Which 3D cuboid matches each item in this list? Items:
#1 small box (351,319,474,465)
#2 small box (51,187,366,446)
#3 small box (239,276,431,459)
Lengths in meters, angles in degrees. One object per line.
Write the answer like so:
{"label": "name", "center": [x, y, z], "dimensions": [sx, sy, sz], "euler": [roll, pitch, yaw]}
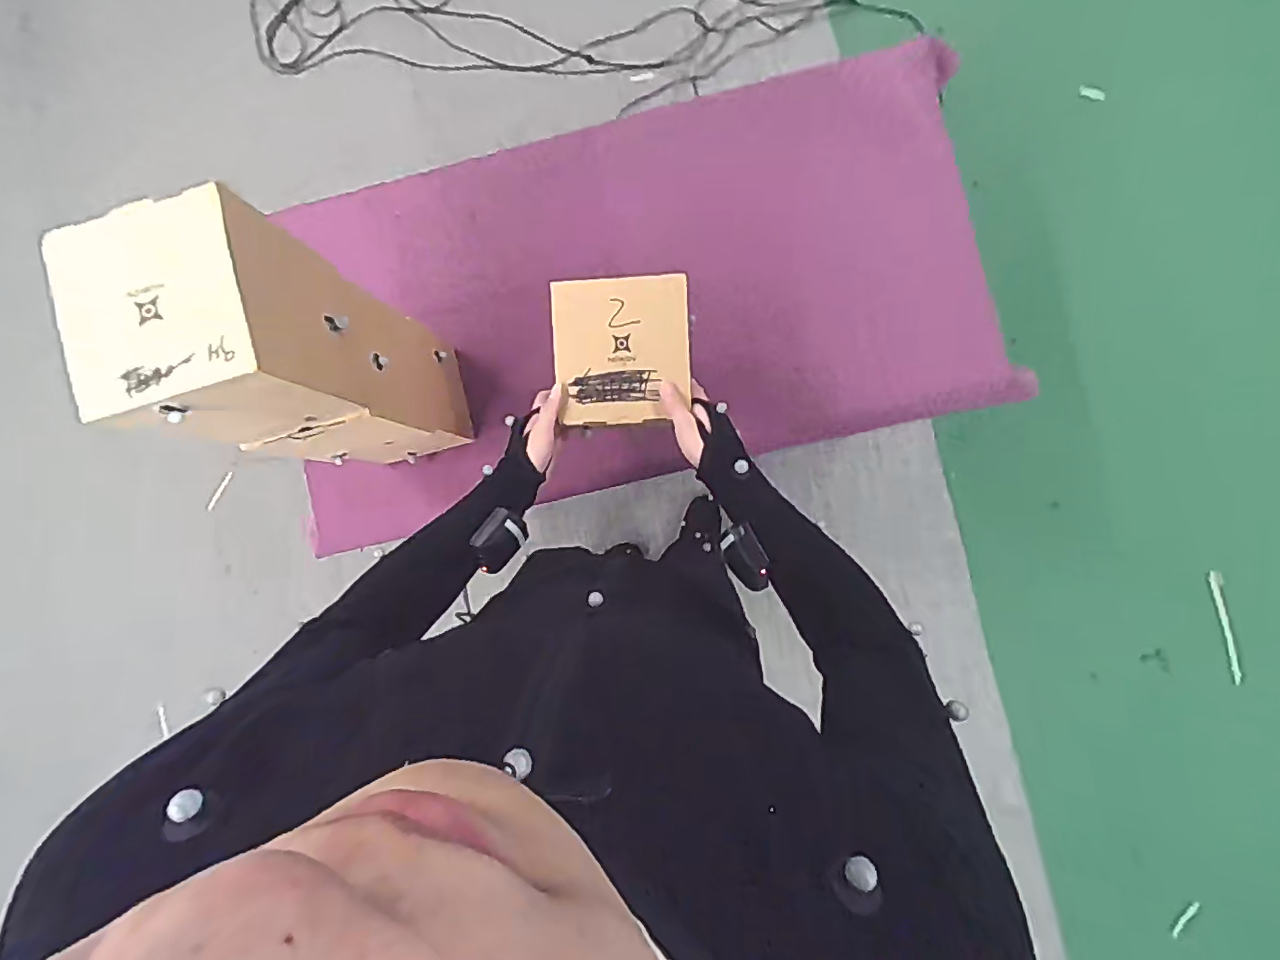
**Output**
{"label": "small box", "center": [-0.389, -0.131, 0.869], "dimensions": [0.168, 0.176, 0.179], "euler": [-15, 87, 3]}
{"label": "small box", "center": [-0.411, -0.145, 0.543], "dimensions": [0.168, 0.176, 0.179], "euler": [-16, 86, 4]}
{"label": "small box", "center": [-0.398, -0.130, 0.706], "dimensions": [0.168, 0.176, 0.179], "euler": [-15, 85, 4]}
